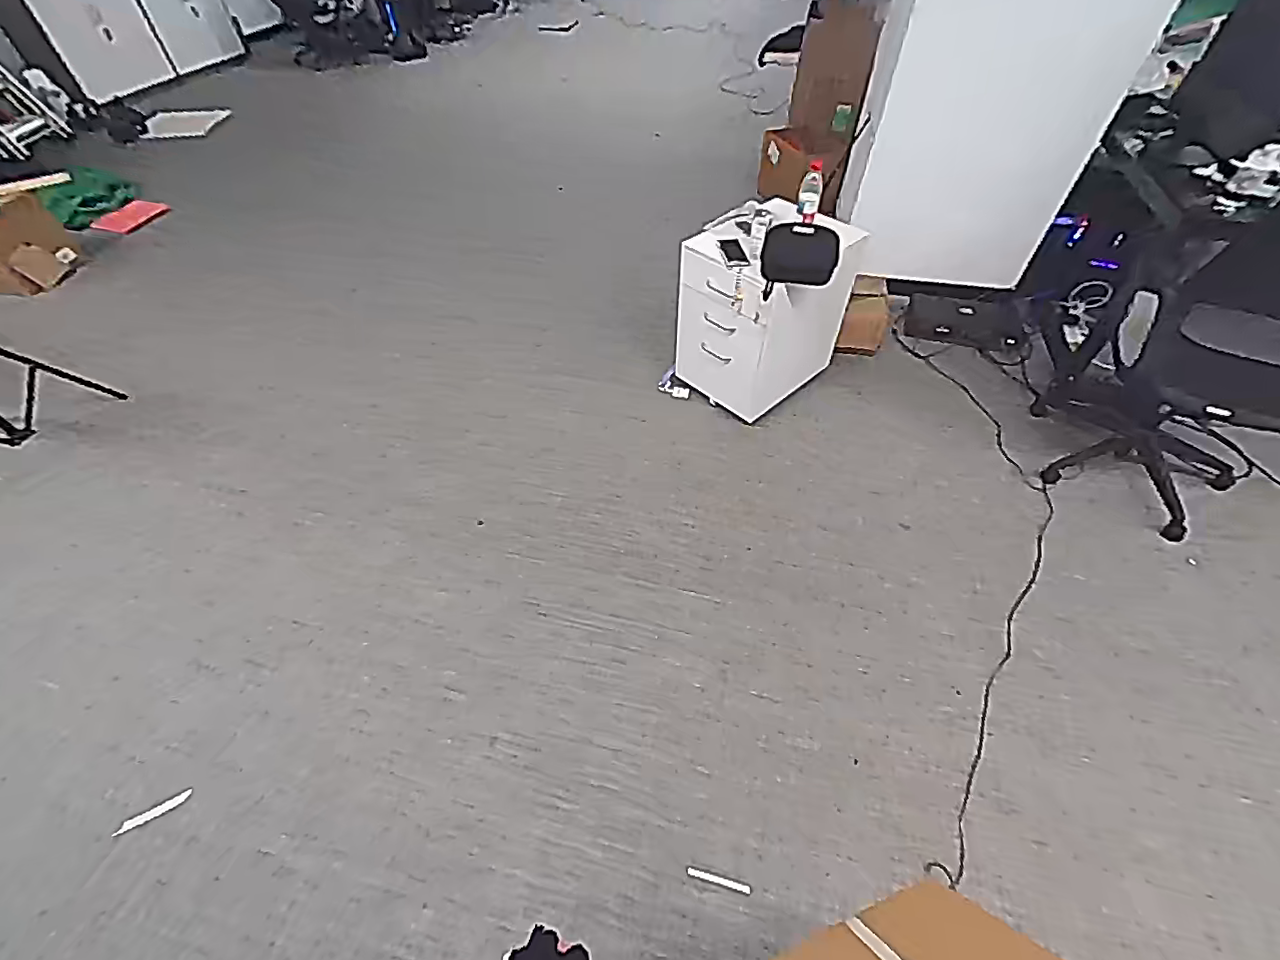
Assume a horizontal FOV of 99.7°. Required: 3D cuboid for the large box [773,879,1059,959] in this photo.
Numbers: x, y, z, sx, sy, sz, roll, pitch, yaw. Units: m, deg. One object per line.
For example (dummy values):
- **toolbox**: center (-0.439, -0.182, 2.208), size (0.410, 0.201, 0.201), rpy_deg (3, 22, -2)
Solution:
- **large box**: center (0.404, 0.763, 0.612), size (0.320, 0.408, 0.320), rpy_deg (-16, 79, -14)
